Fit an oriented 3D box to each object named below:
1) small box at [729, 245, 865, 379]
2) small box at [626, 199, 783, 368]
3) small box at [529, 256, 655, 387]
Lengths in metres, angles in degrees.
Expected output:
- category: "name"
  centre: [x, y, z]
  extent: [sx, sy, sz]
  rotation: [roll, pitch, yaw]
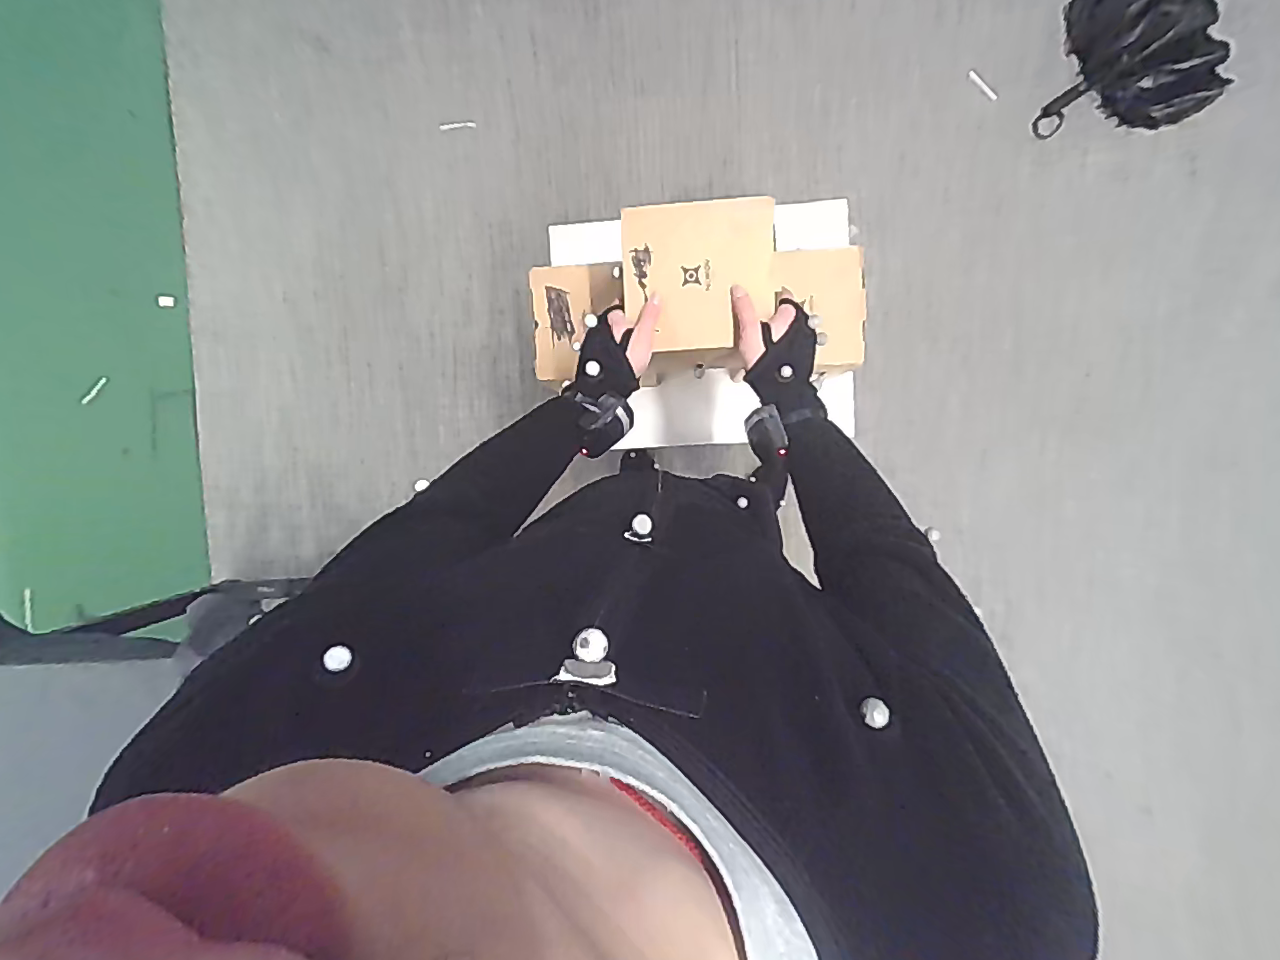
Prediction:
- category: "small box"
  centre: [0.233, -0.250, 0.838]
  extent: [0.179, 0.176, 0.168]
  rotation: [-1, 94, 5]
- category: "small box"
  centre: [0.075, -0.236, 0.687]
  extent: [0.179, 0.176, 0.168]
  rotation: [-2, 94, 3]
- category: "small box"
  centre: [-0.067, -0.241, 0.856]
  extent: [0.179, 0.176, 0.168]
  rotation: [-3, 94, 2]
